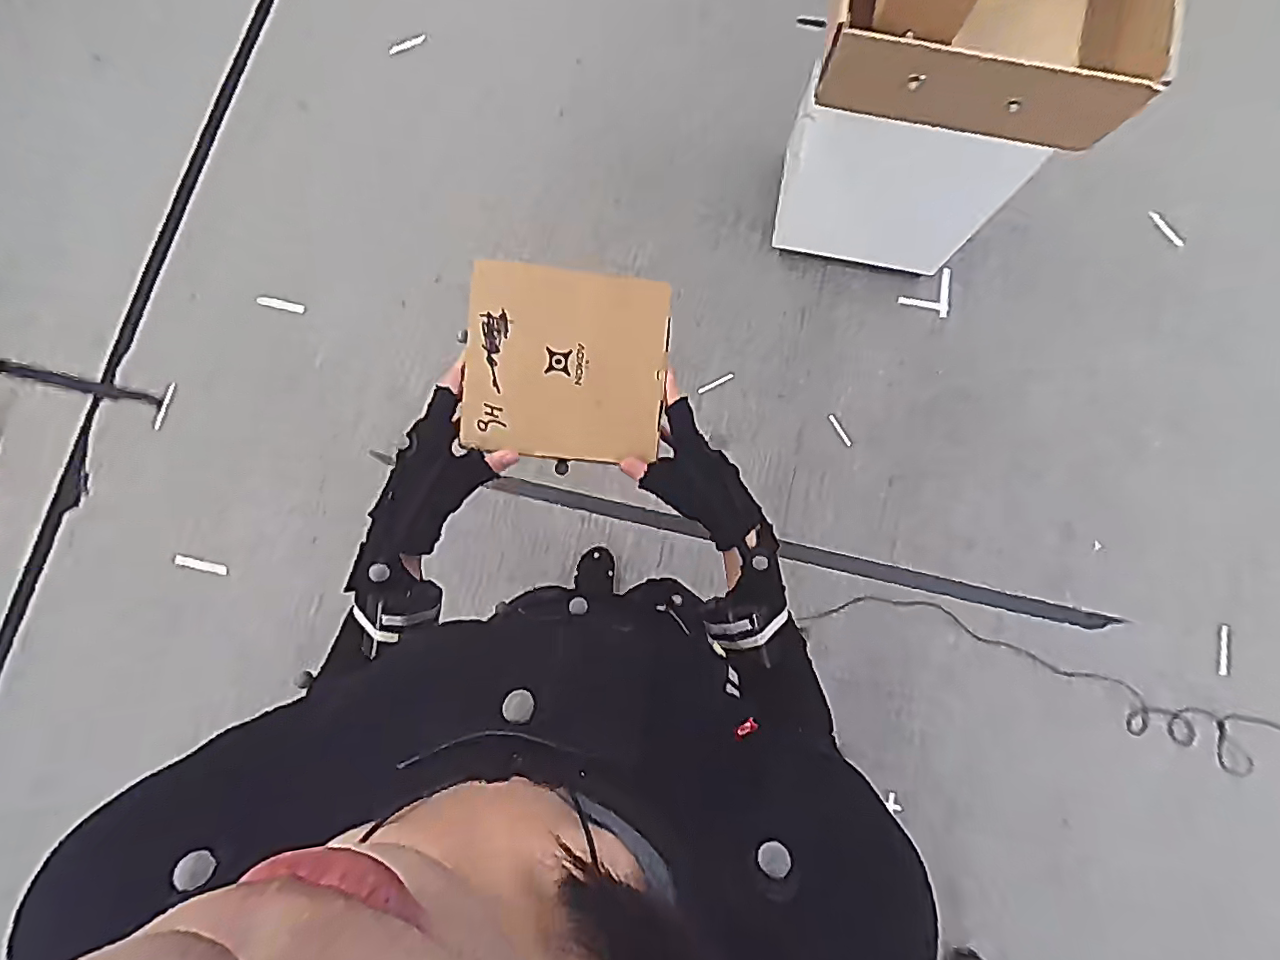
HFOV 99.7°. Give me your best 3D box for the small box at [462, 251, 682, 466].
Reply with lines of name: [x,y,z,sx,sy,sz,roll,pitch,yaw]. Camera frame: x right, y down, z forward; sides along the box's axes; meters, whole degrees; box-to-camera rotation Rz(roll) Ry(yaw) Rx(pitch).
small box: [-0.068,-0.106,0.549,0.179,0.176,0.168,6,90,-8]

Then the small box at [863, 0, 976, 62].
small box: [0.560,-0.984,1.065,0.168,0.176,0.179,11,85,1]
